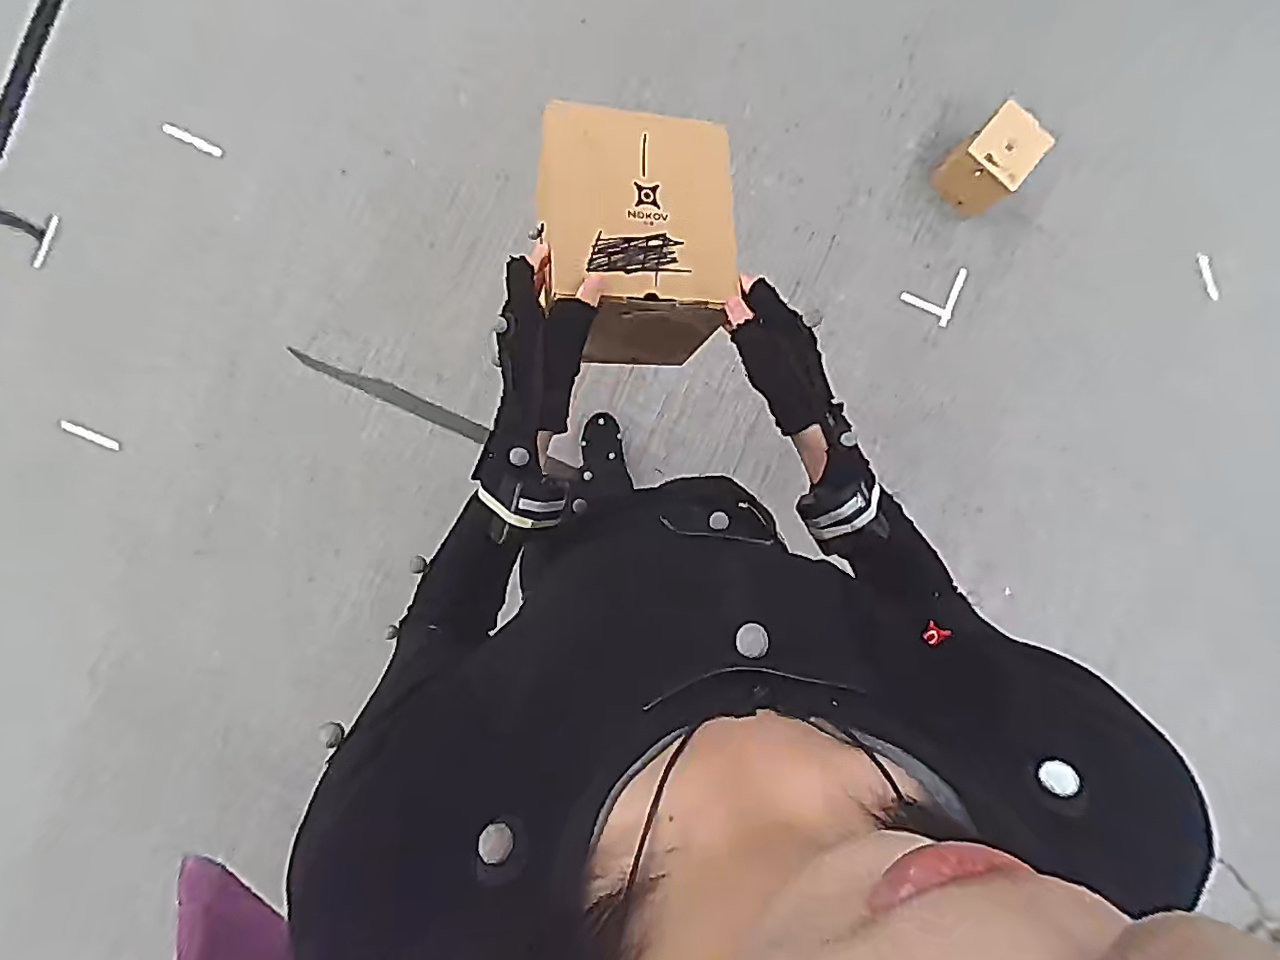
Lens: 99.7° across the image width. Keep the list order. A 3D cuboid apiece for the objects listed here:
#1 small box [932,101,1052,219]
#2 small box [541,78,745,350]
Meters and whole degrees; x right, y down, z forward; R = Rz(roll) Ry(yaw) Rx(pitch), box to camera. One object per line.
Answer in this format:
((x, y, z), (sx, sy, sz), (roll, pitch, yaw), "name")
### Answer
((0.935, -0.852, 1.456), (0.168, 0.176, 0.179), (39, 89, -5), "small box")
((-0.008, -0.239, 0.535), (0.168, 0.176, 0.179), (-1, 84, -15), "small box")
